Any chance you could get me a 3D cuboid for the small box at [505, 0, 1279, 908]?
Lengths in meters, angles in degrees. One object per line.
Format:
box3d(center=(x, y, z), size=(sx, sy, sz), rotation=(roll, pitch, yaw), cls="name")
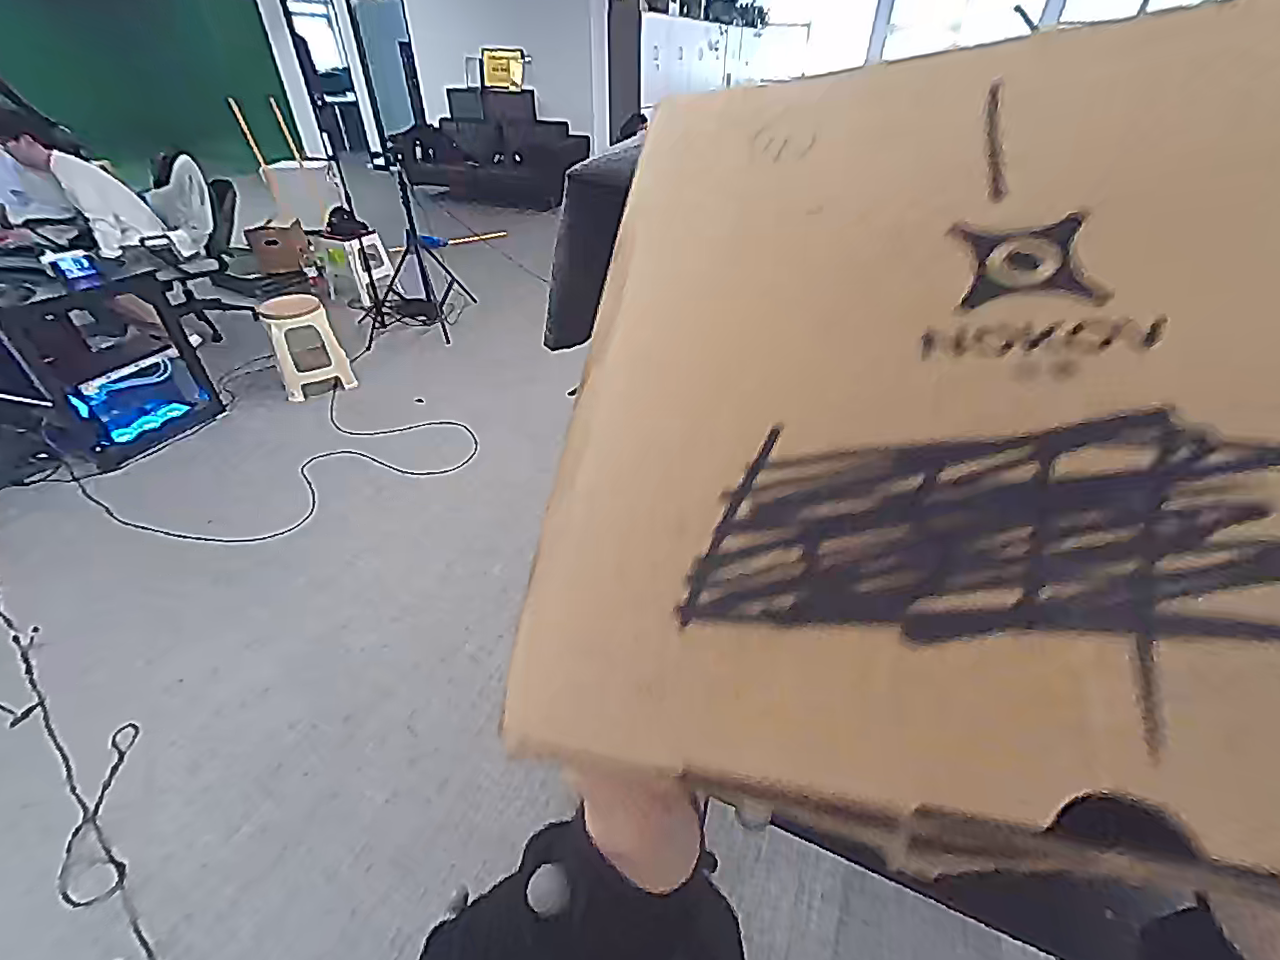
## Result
box3d(center=(0.090, 0.003, 0.165), size=(0.168, 0.176, 0.179), rotation=(2, 62, 18), cls="small box")
